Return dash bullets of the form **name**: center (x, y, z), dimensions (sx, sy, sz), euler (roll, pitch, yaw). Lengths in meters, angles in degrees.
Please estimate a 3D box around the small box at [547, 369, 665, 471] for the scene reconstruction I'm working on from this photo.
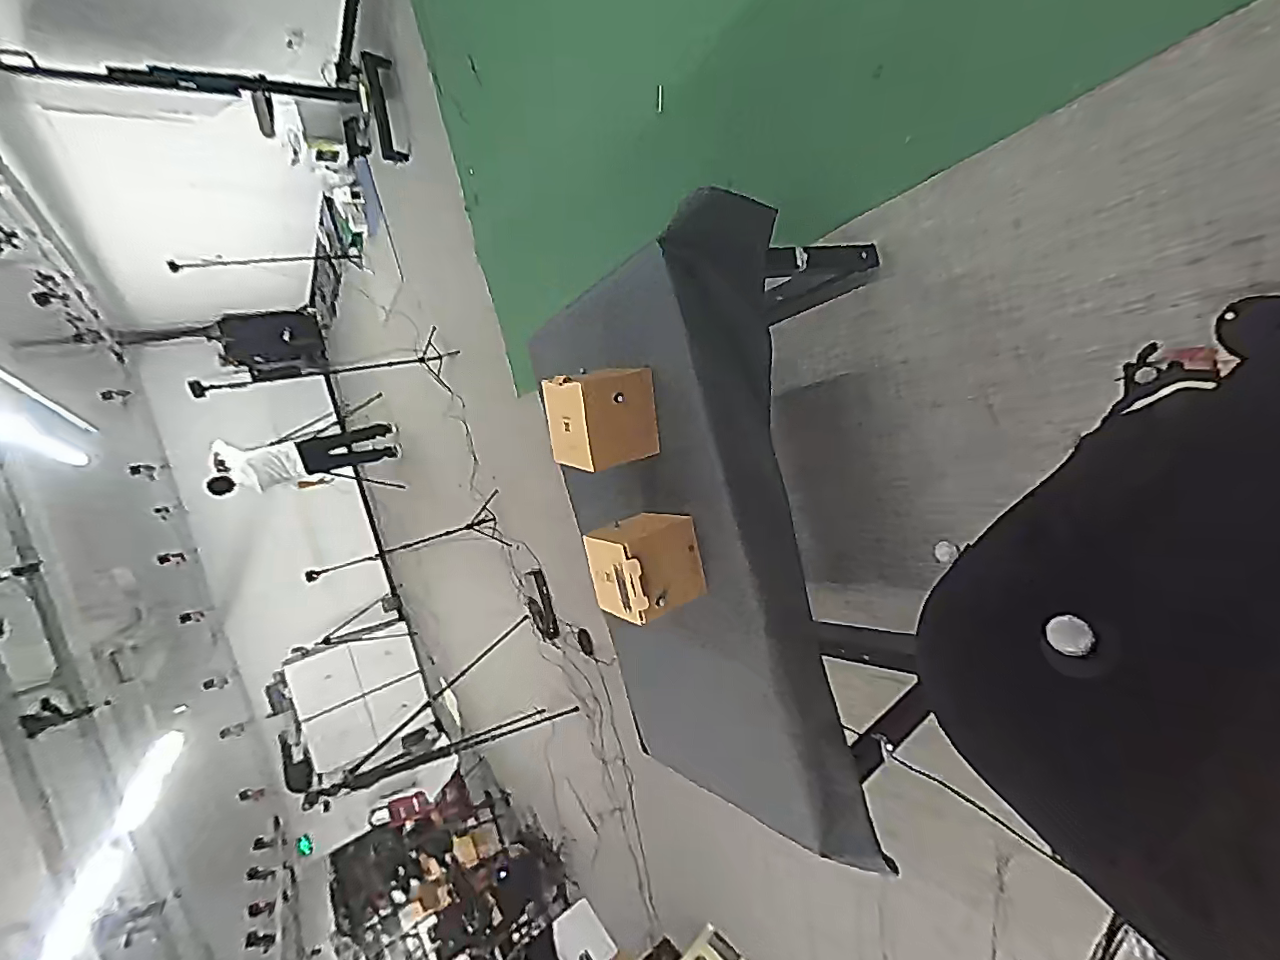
- **small box**: center (-0.067, -0.132, 1.115), dimensions (0.168, 0.176, 0.179), euler (15, 118, 53)
